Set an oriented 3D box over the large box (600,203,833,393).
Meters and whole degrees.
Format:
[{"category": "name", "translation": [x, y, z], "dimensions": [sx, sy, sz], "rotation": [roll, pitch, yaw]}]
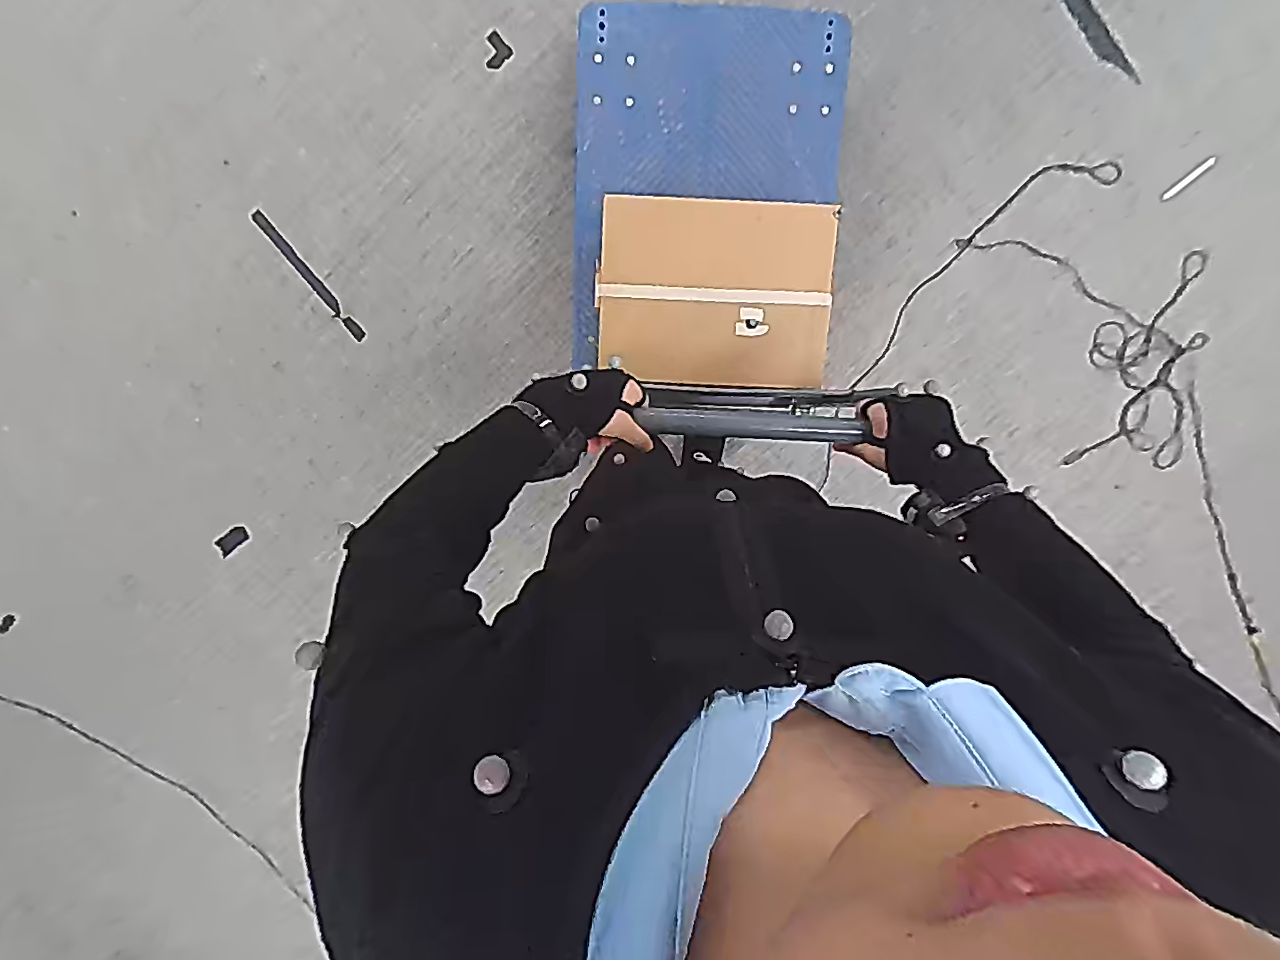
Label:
[{"category": "large box", "translation": [0.128, -0.341, 1.097], "dimensions": [0.408, 0.320, 0.320], "rotation": [3, 101, -1]}]
